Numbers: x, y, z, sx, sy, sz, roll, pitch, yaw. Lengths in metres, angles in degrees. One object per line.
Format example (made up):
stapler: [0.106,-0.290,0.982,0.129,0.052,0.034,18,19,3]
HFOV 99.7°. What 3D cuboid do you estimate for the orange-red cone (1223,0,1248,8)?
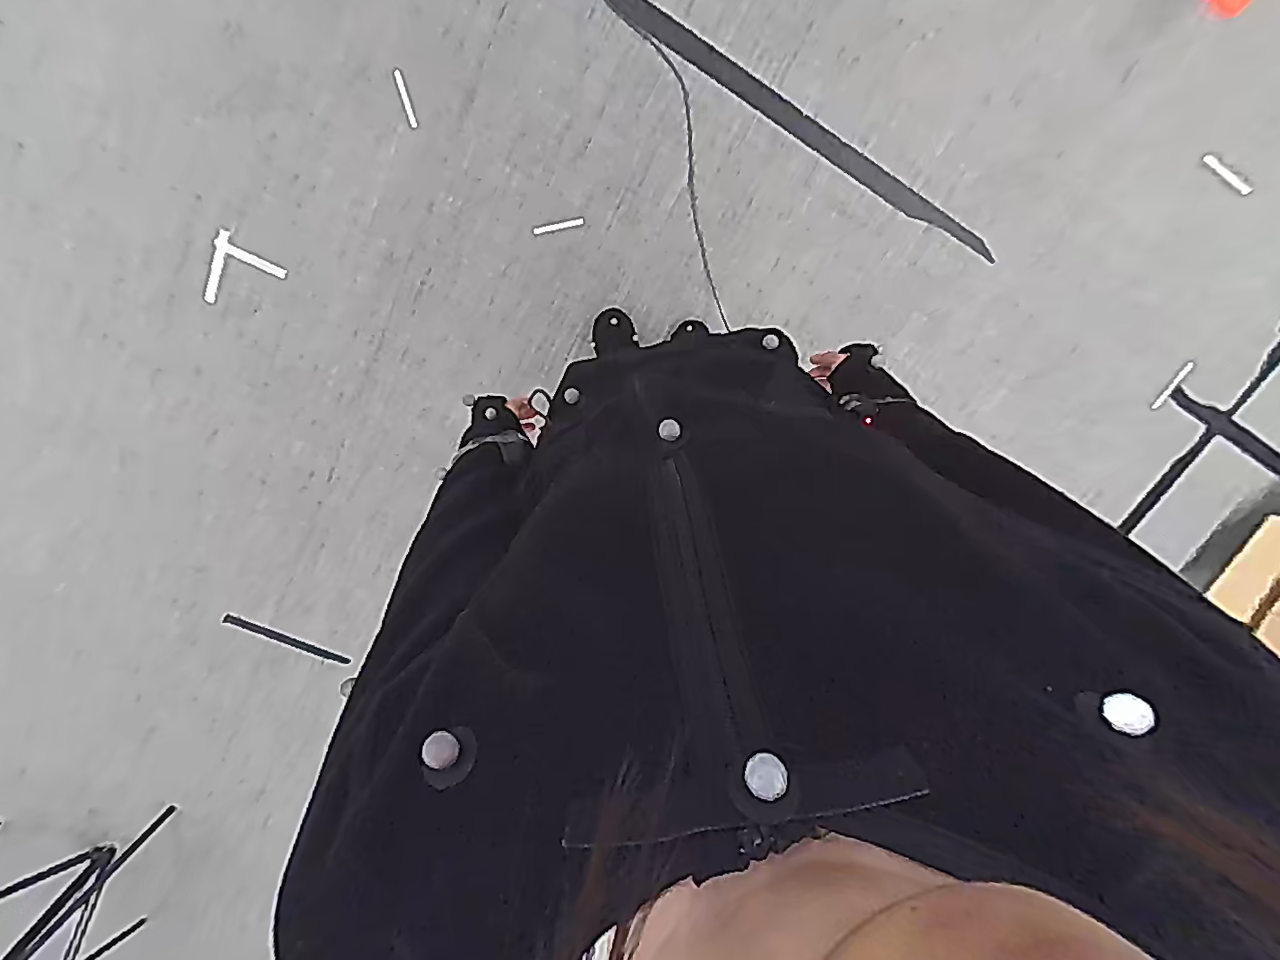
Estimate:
orange-red cone: [1.230,-1.045,0.927,0.199,0.360,0.198,30,106,-13]
